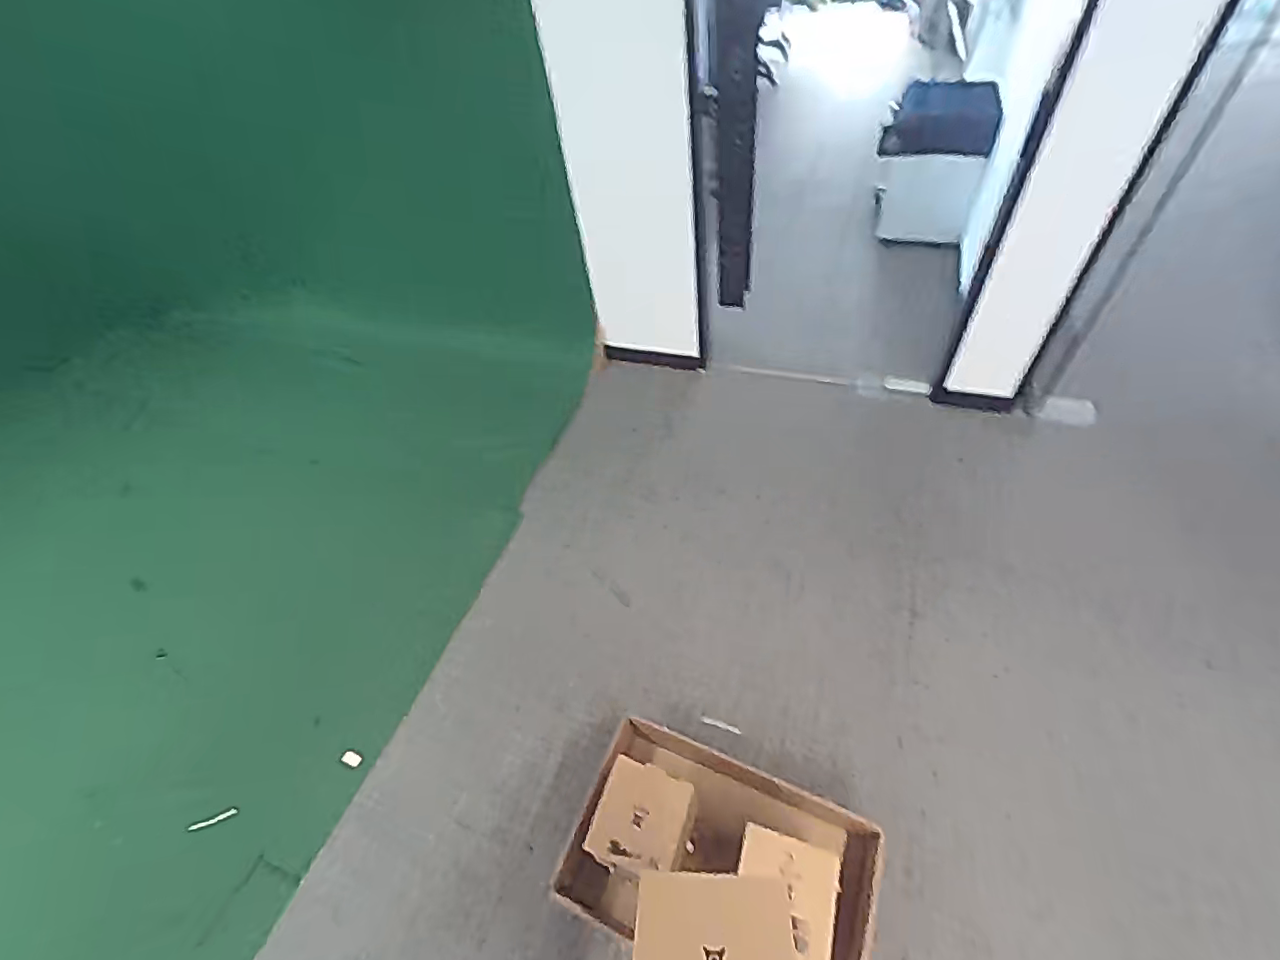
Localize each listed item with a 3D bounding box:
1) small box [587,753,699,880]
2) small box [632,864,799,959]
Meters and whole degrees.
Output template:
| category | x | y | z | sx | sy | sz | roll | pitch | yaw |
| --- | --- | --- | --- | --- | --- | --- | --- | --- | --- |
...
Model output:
| category | x | y | z | sx | sy | sz | roll | pitch | yaw |
| --- | --- | --- | --- | --- | --- | --- | --- | --- | --- |
| small box | 0.015 | 0.687 | 1.083 | 0.168 | 0.176 | 0.179 | 12 | 51 | 21 |
| small box | 0.082 | 0.542 | 0.565 | 0.168 | 0.176 | 0.179 | -4 | 30 | 8 |
